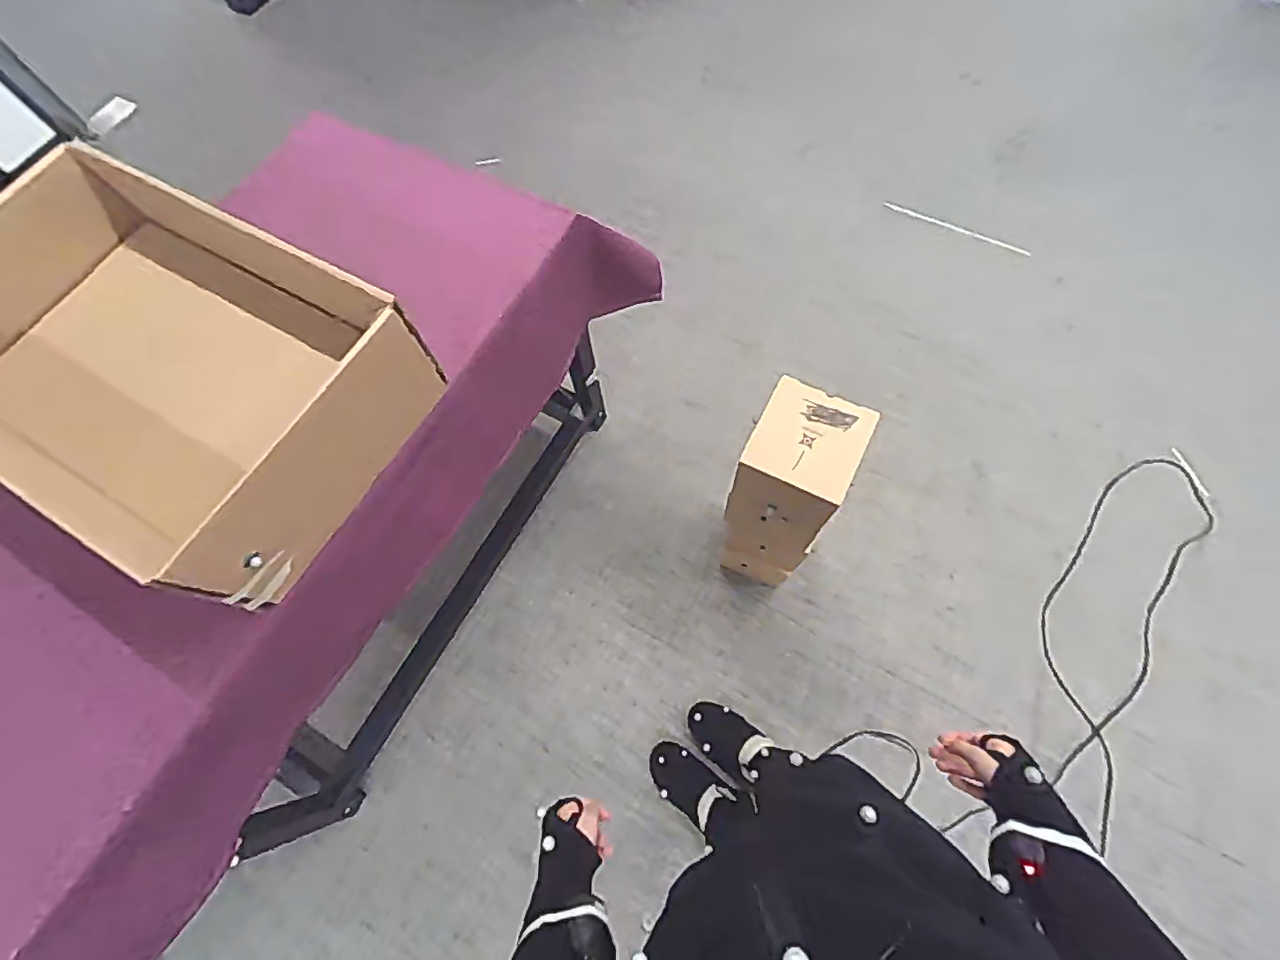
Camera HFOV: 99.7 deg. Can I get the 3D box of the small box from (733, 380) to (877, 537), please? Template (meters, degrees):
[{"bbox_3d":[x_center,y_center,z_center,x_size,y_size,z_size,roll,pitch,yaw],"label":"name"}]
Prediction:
[{"bbox_3d":[0.266,-0.030,0.913,0.168,0.176,0.179,26,73,14],"label":"small box"}]

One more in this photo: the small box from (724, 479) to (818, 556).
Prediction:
[{"bbox_3d":[0.279,0.030,1.066,0.179,0.176,0.168,28,73,14],"label":"small box"}]
